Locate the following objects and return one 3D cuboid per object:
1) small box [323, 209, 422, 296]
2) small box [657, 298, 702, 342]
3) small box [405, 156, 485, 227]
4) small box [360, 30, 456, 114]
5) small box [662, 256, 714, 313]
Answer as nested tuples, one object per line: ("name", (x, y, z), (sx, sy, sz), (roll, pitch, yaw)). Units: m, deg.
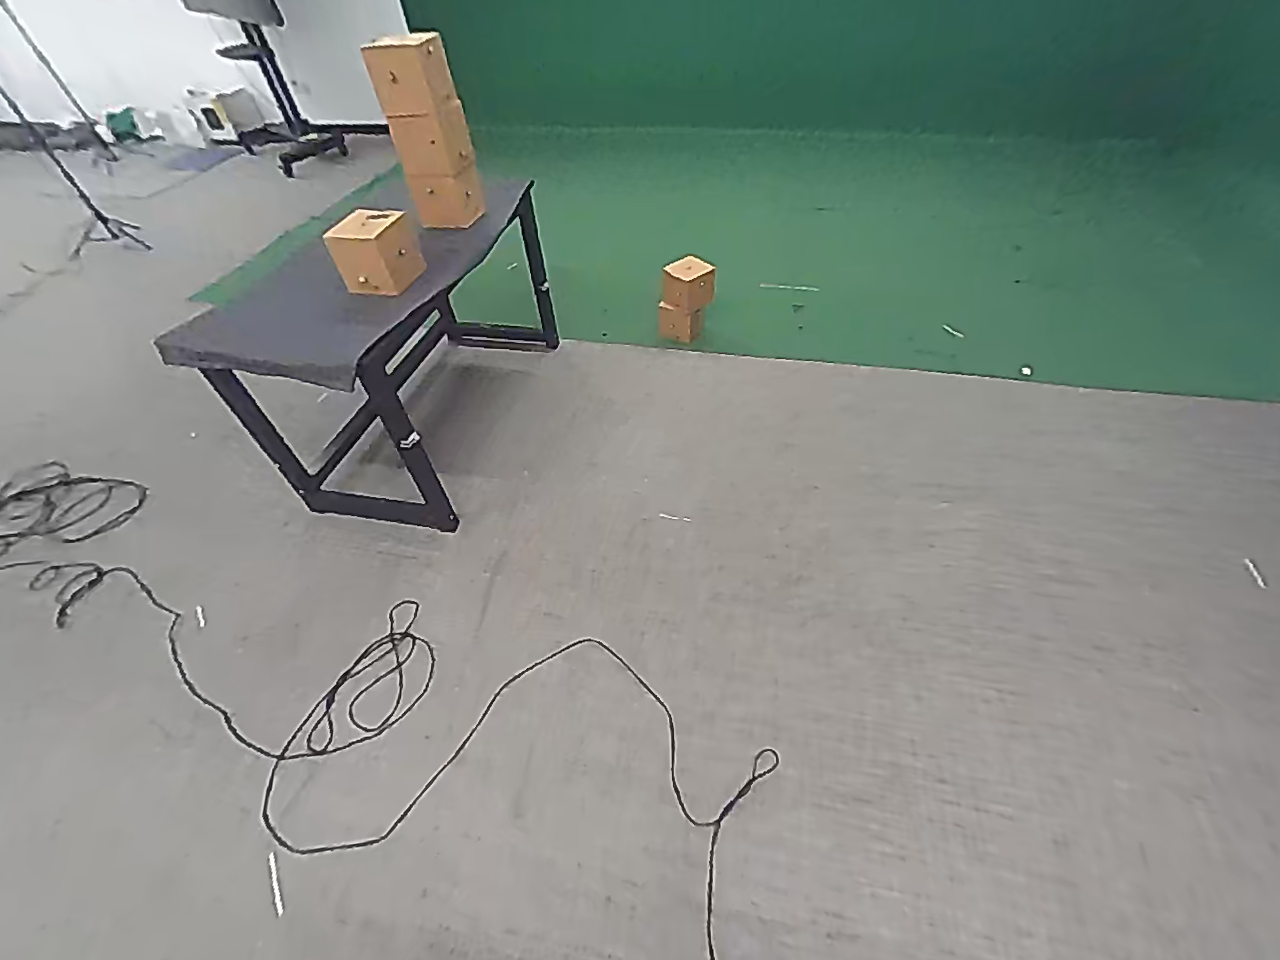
("small box", (-0.751, -0.652, 1.547), (0.168, 0.176, 0.179), (8, 50, 12))
("small box", (0.194, -0.790, 2.593), (0.168, 0.176, 0.179), (21, 53, 21))
("small box", (-0.651, -0.978, 1.835), (0.179, 0.176, 0.168), (7, 49, 12))
("small box", (-0.673, -1.196, 1.590), (0.179, 0.176, 0.168), (4, 49, 10))
("small box", (0.216, -0.890, 2.462), (0.179, 0.176, 0.168), (-33, 55, -24))
